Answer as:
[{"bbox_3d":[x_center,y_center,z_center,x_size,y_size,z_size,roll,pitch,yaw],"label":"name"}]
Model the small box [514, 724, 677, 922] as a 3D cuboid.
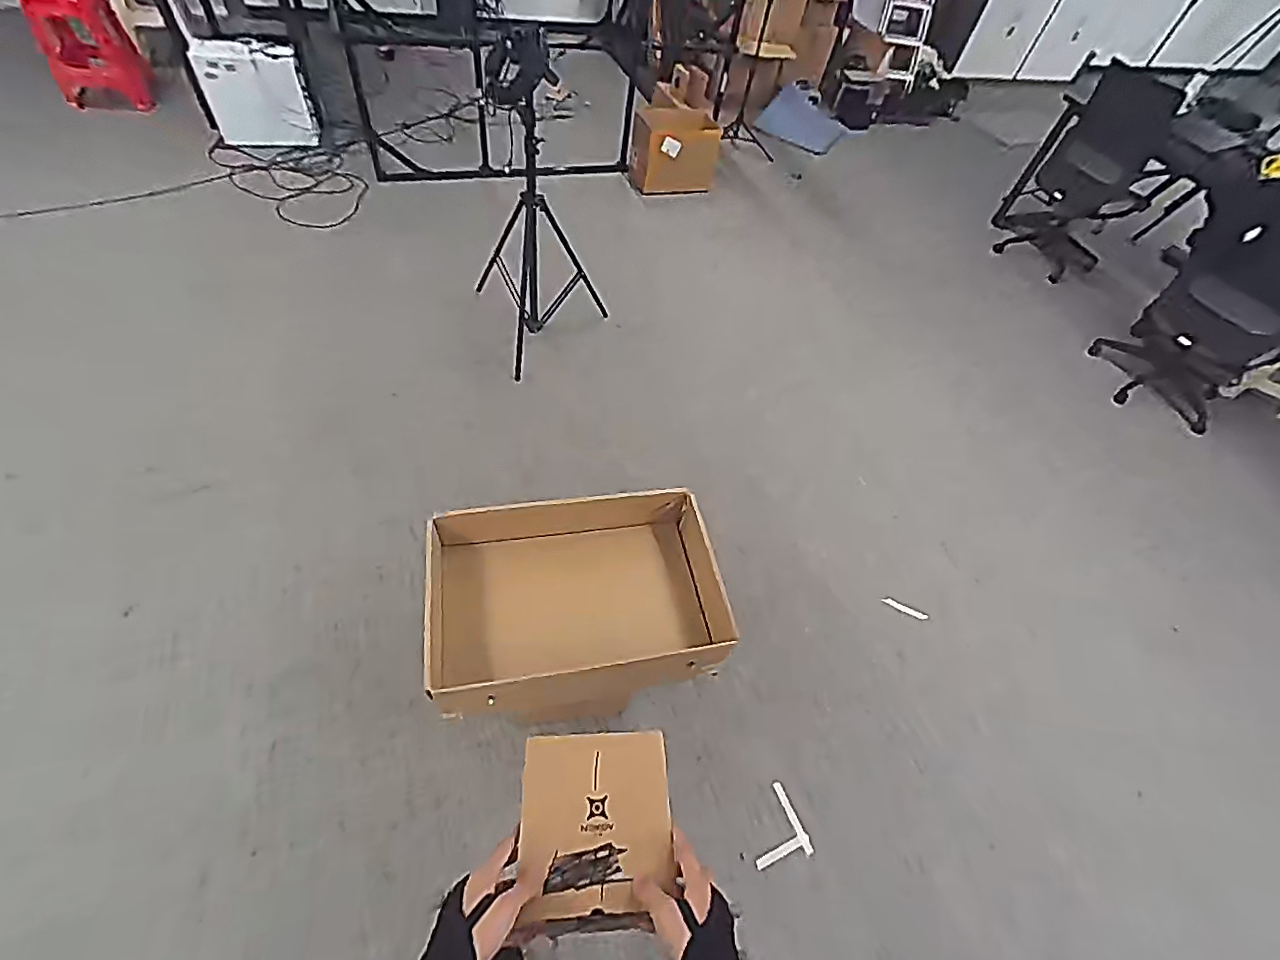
[{"bbox_3d":[-0.051,0.413,0.649,0.168,0.176,0.179,0,47,-5],"label":"small box"}]
